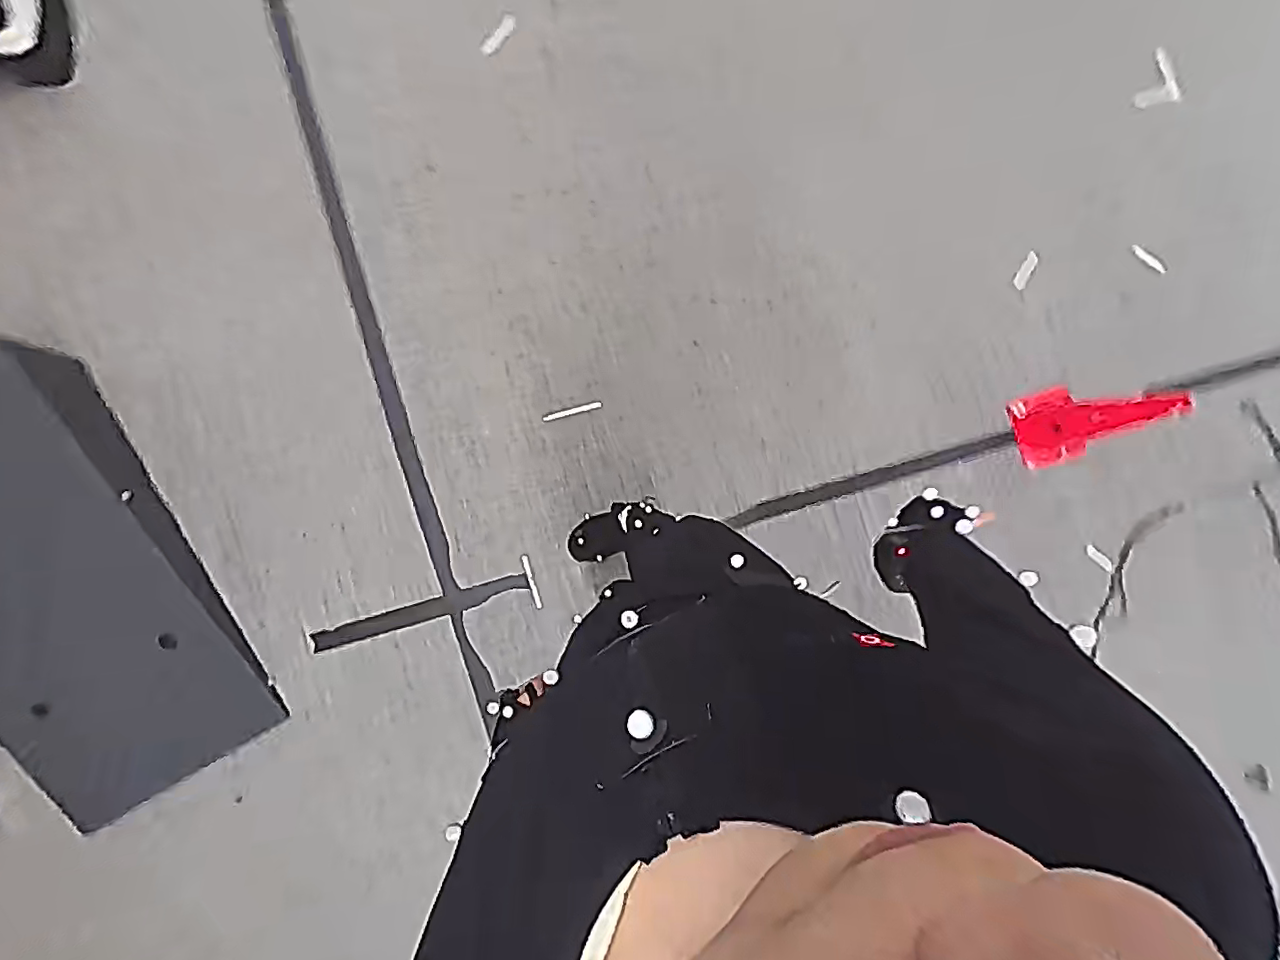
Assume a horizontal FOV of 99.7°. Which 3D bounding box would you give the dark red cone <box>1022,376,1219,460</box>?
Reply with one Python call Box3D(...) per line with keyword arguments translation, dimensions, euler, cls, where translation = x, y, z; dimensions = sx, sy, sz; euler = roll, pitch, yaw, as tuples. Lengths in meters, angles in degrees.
Box3D(translation=(1.172, -0.176, 1.324), dimensions=(0.202, 0.394, 0.201), euler=(-17, 90, -7), cls="dark red cone")
